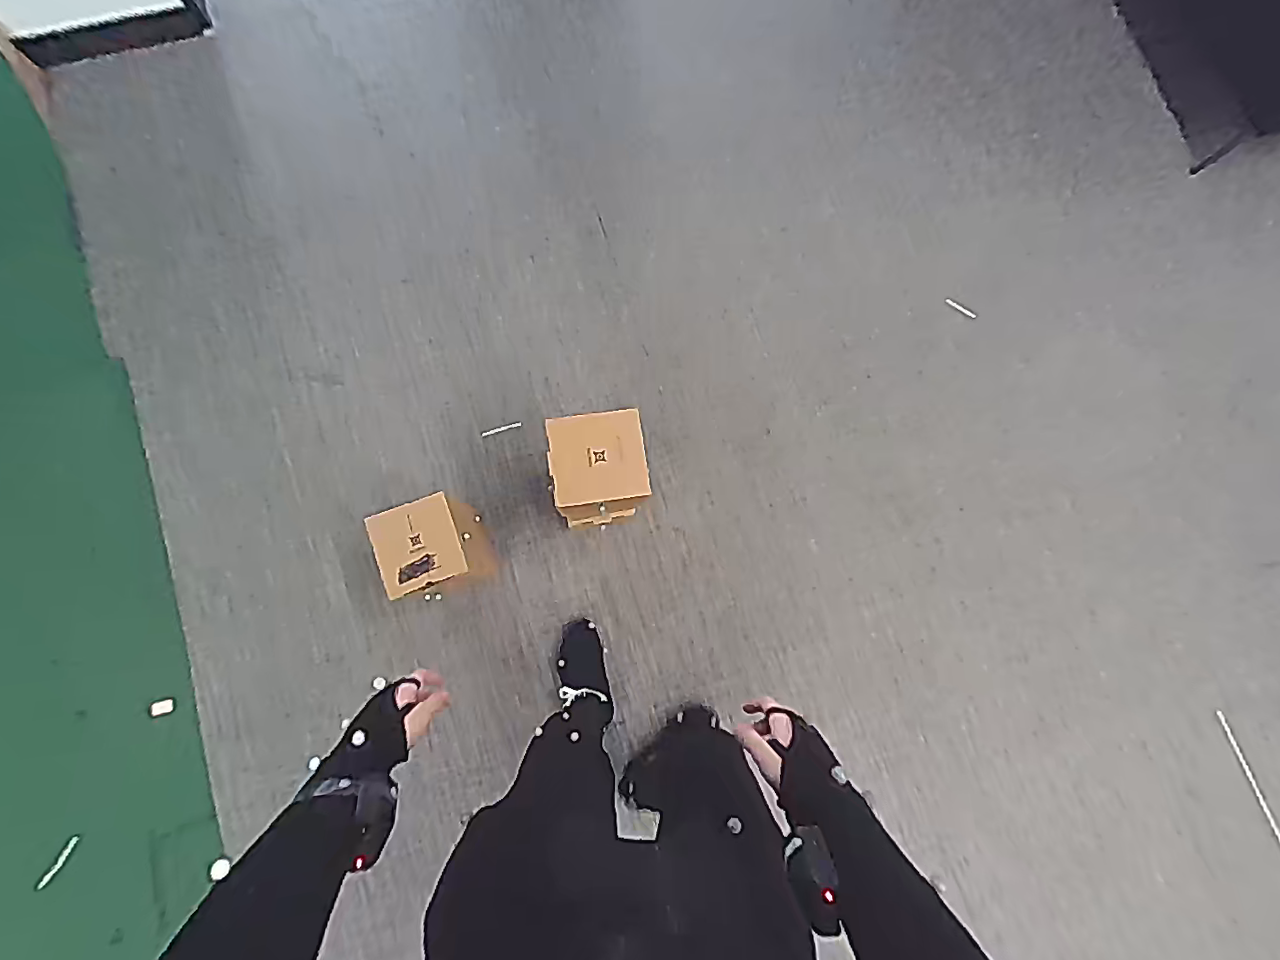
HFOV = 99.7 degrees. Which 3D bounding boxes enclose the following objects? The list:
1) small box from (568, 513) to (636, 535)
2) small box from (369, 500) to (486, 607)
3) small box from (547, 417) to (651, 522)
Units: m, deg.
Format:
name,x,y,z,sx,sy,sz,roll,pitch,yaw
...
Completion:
name,x,y,z,sx,sy,sz,roll,pitch,yaw
small box,-0.107,0.042,1.381,0.168,0.176,0.179,-10,82,-7
small box,-0.449,0.160,1.168,0.168,0.176,0.179,-20,81,-8
small box,-0.079,-0.015,1.062,0.179,0.176,0.168,-7,81,-5
